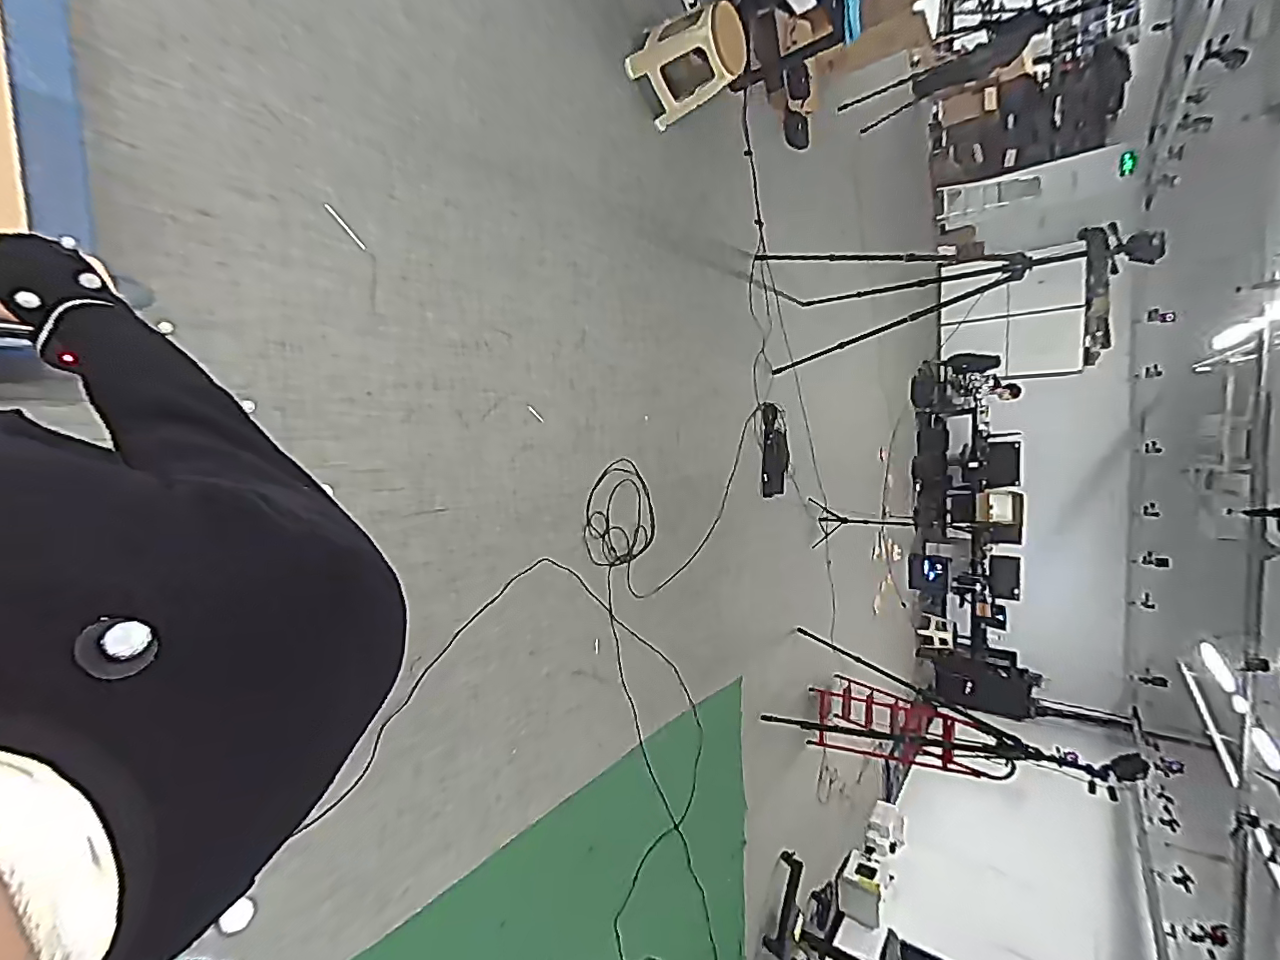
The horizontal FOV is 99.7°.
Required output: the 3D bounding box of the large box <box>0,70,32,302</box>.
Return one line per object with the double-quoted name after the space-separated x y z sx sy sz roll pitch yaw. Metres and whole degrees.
-1.130 -0.499 0.761 0.320 0.320 0.408 -10 97 -51 "large box"
